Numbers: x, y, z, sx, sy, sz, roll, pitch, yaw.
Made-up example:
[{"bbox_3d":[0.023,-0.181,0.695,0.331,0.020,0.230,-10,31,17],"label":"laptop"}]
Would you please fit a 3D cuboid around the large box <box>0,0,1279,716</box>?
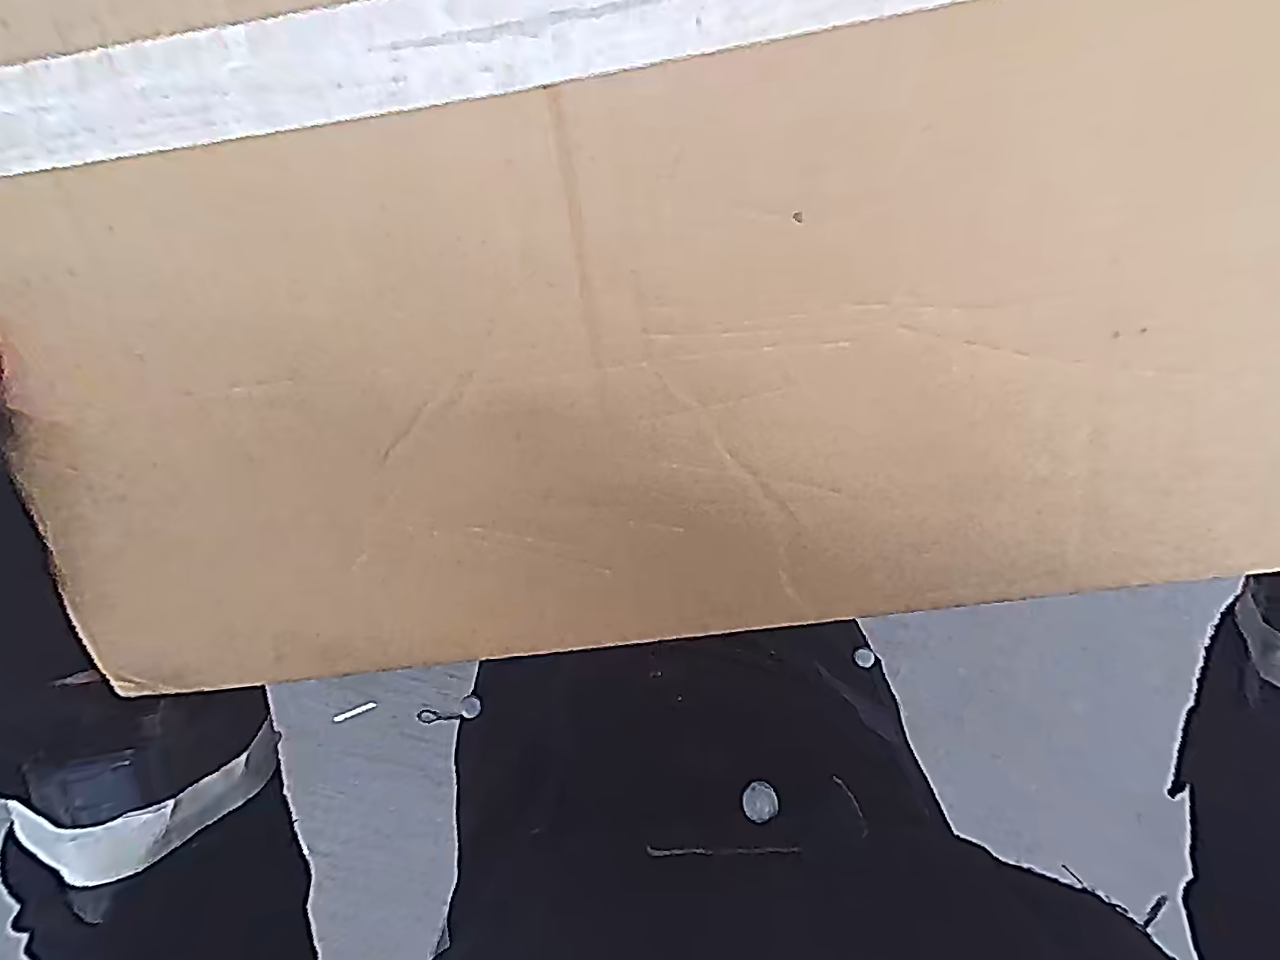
[{"bbox_3d":[0.012,-0.138,0.269,0.408,0.320,0.320,-8,106,4],"label":"large box"}]
